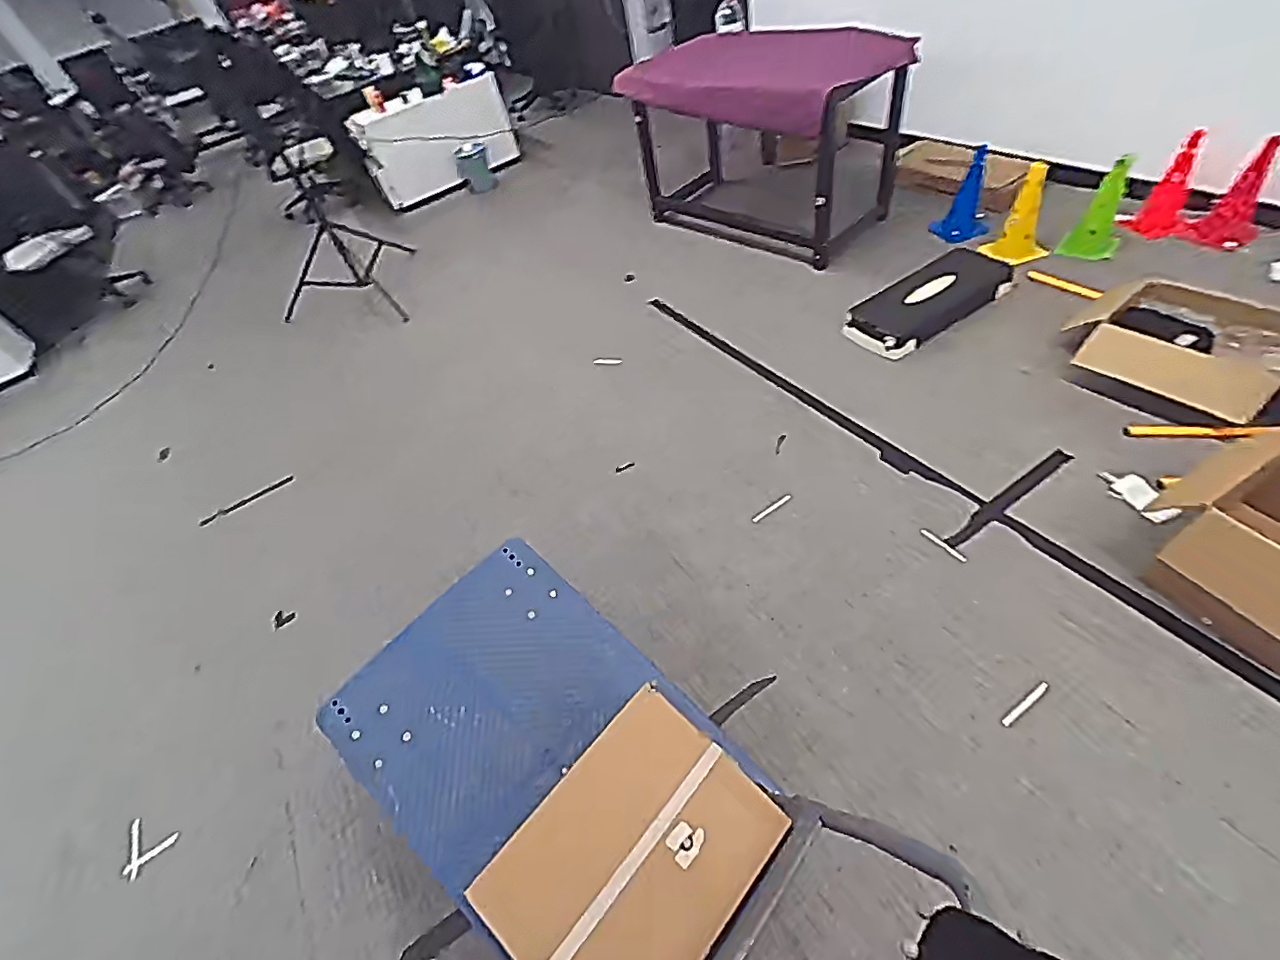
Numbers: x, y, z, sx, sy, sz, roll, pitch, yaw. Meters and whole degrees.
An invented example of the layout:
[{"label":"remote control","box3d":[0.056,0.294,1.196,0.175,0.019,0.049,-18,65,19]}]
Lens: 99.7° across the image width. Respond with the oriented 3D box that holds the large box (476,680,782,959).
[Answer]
[{"label":"large box","box3d":[-0.017,0.644,0.972,0.320,0.320,0.408,40,66,15]}]
